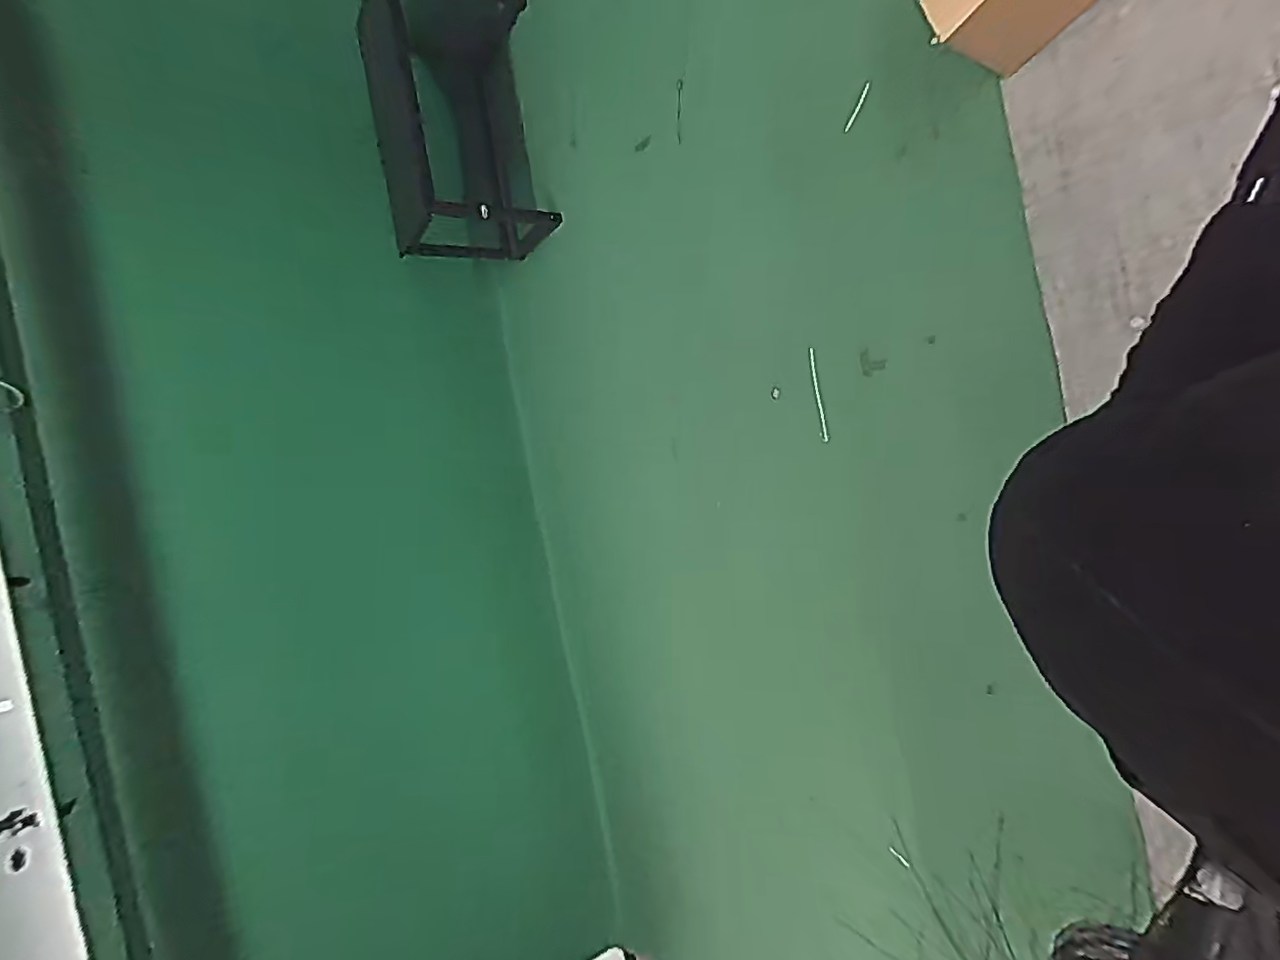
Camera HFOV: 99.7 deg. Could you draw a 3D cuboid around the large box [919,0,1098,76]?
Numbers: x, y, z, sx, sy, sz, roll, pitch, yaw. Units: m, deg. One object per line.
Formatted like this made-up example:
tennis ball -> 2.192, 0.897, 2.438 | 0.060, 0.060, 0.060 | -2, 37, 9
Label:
large box -> 0.778, -1.101, 1.029 | 0.408, 0.320, 0.320 | -35, 70, 55
